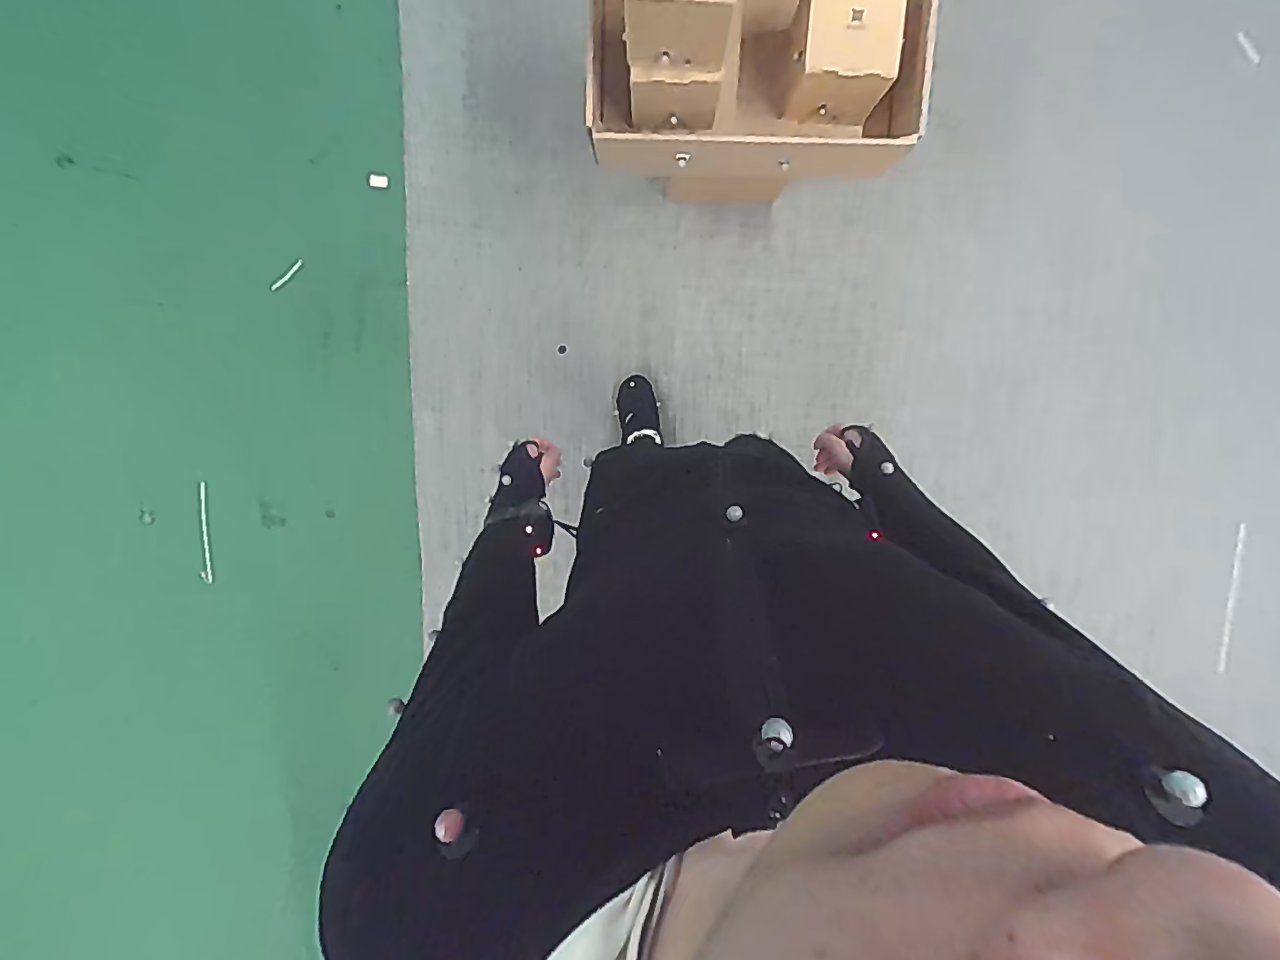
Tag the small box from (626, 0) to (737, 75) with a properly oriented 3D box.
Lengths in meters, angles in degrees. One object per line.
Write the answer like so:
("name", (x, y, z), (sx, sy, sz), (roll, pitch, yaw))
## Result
("small box", (0.066, -0.783, 0.845), (0.168, 0.176, 0.179), (4, 97, 1))
